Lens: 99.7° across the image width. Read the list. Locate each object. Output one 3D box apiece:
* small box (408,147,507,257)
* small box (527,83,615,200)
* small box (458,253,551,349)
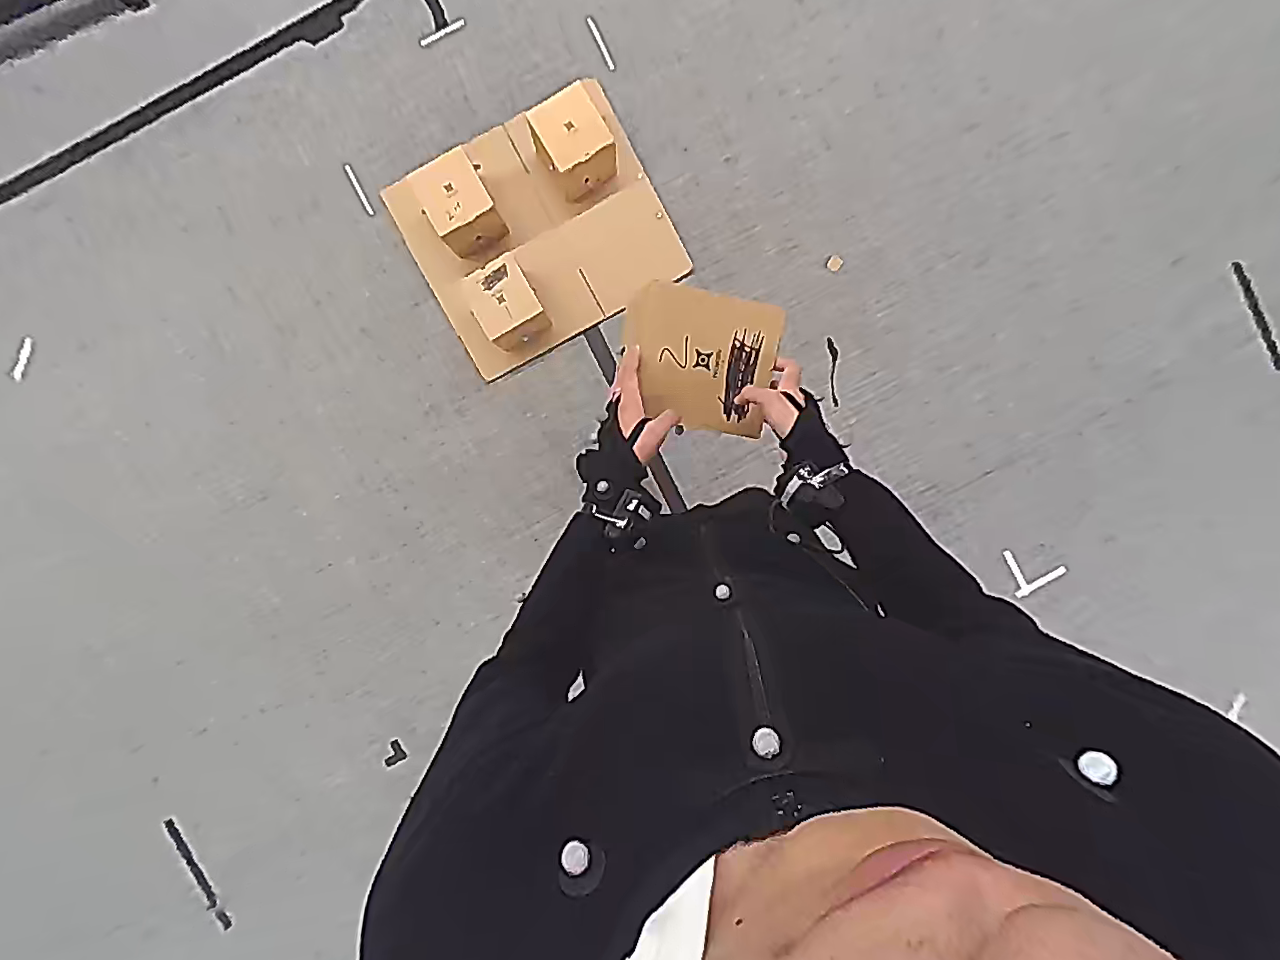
[{"bbox_3d":[-0.483,-0.739,1.456,0.168,0.176,0.179,-29,95,2],"label":"small box"},{"bbox_3d":[-0.180,-0.901,1.457,0.168,0.176,0.179,-32,95,1],"label":"small box"},{"bbox_3d":[-0.364,-0.481,1.480,0.168,0.176,0.179,-30,96,2],"label":"small box"}]
